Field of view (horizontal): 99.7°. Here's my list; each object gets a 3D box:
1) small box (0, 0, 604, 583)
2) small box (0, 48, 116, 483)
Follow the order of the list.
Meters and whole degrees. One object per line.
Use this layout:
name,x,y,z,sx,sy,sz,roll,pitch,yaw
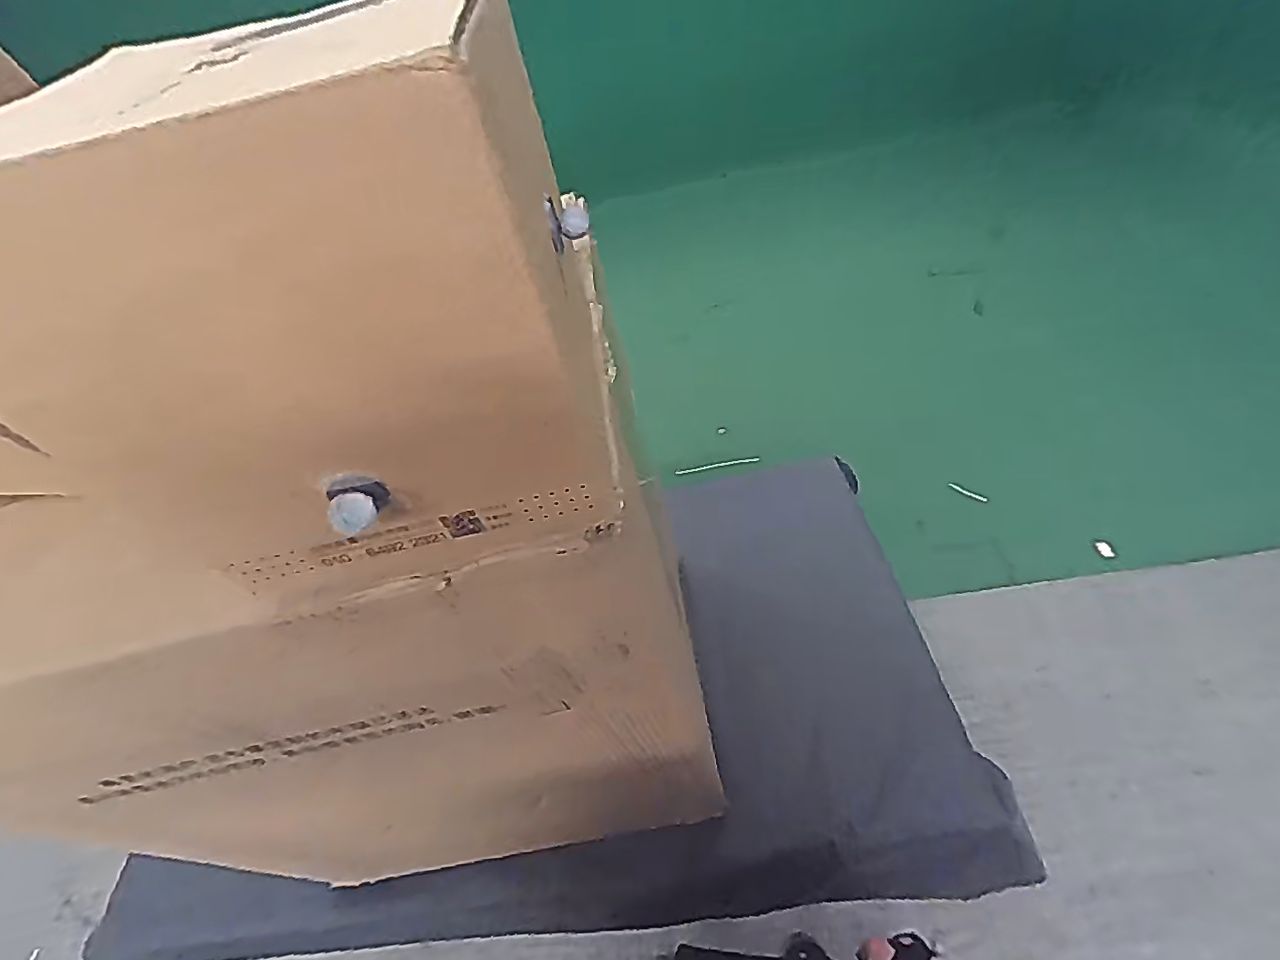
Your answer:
small box,-0.116,-0.082,0.230,0.168,0.176,0.179,-12,50,3
small box,-0.386,-0.106,0.294,0.179,0.176,0.168,-1,62,11
